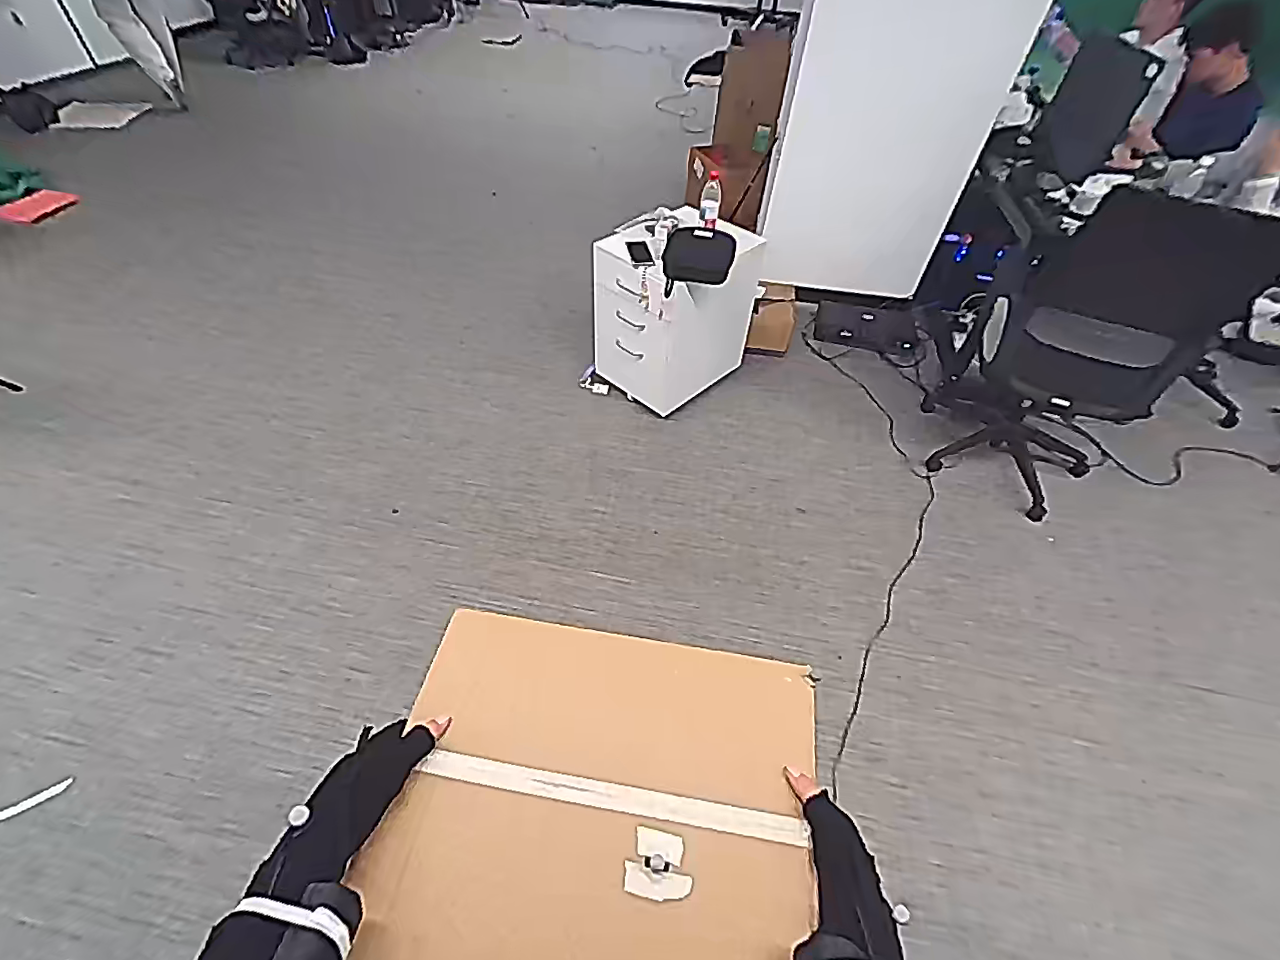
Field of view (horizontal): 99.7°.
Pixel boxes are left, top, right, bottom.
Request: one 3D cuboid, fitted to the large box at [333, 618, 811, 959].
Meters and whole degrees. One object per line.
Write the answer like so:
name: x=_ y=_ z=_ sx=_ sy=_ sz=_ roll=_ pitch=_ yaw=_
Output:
large box: x=-0.041 y=0.394 z=0.638 sx=0.408 sy=0.320 sz=0.320 roll=8 pitch=53 yaw=6
